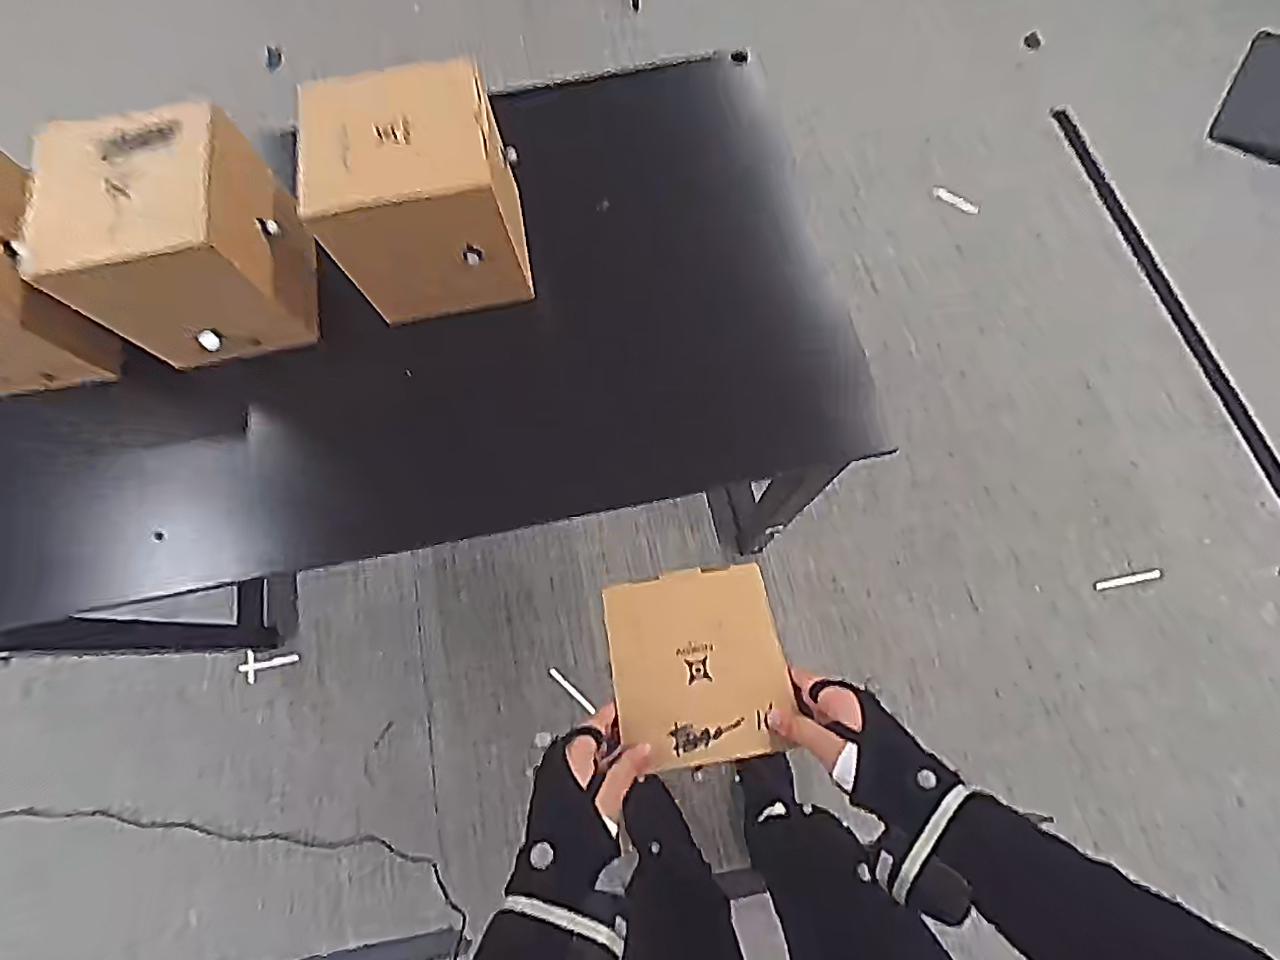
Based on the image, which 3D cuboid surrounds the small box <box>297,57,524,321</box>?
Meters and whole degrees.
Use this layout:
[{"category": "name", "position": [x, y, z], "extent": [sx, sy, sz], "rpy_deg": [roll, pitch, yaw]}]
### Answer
[{"category": "small box", "position": [-0.231, -0.298, 0.581], "extent": [0.179, 0.176, 0.168], "rpy_deg": [-12, 72, 0]}]

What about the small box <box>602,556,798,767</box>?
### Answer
[{"category": "small box", "position": [0.053, 0.205, 0.594], "extent": [0.168, 0.176, 0.179], "rpy_deg": [-9, 61, -2]}]

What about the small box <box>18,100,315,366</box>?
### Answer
[{"category": "small box", "position": [-0.475, -0.248, 0.572], "extent": [0.168, 0.176, 0.179], "rpy_deg": [-12, 74, -2]}]

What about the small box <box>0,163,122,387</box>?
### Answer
[{"category": "small box", "position": [-0.696, -0.210, 0.570], "extent": [0.168, 0.176, 0.179], "rpy_deg": [-8, 73, -1]}]
